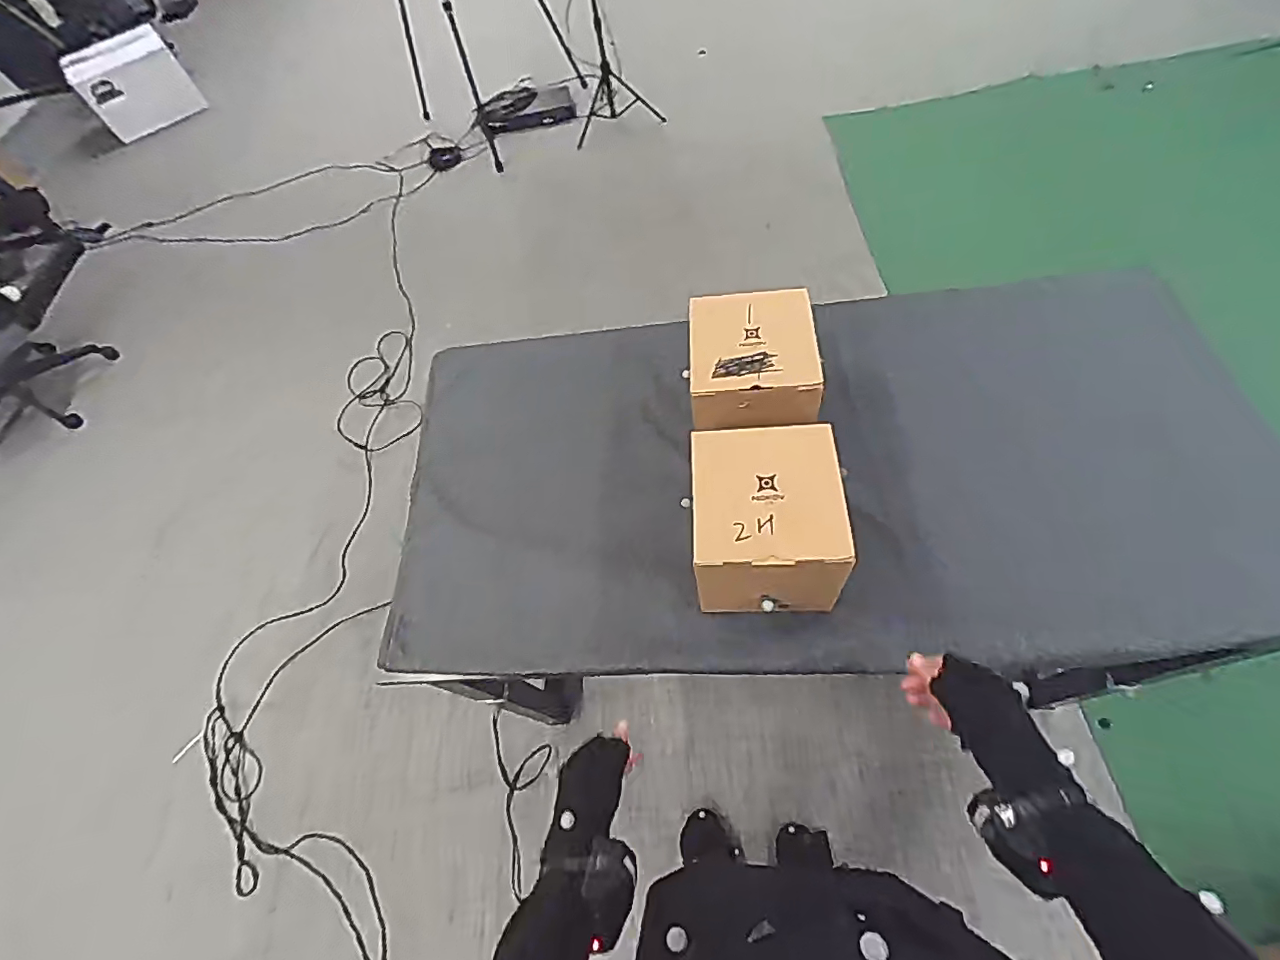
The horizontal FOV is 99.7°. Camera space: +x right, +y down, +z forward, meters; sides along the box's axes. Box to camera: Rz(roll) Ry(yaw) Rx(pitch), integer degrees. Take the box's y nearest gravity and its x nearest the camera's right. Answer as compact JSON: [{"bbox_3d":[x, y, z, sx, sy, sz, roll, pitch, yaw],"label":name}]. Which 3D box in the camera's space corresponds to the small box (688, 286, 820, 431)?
[{"bbox_3d":[0.159,-0.149,0.784,0.168,0.176,0.179,-3,61,8],"label":"small box"}]

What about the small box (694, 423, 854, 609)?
[{"bbox_3d":[0.152,0.050,0.672,0.168,0.176,0.179,-3,60,8],"label":"small box"}]
